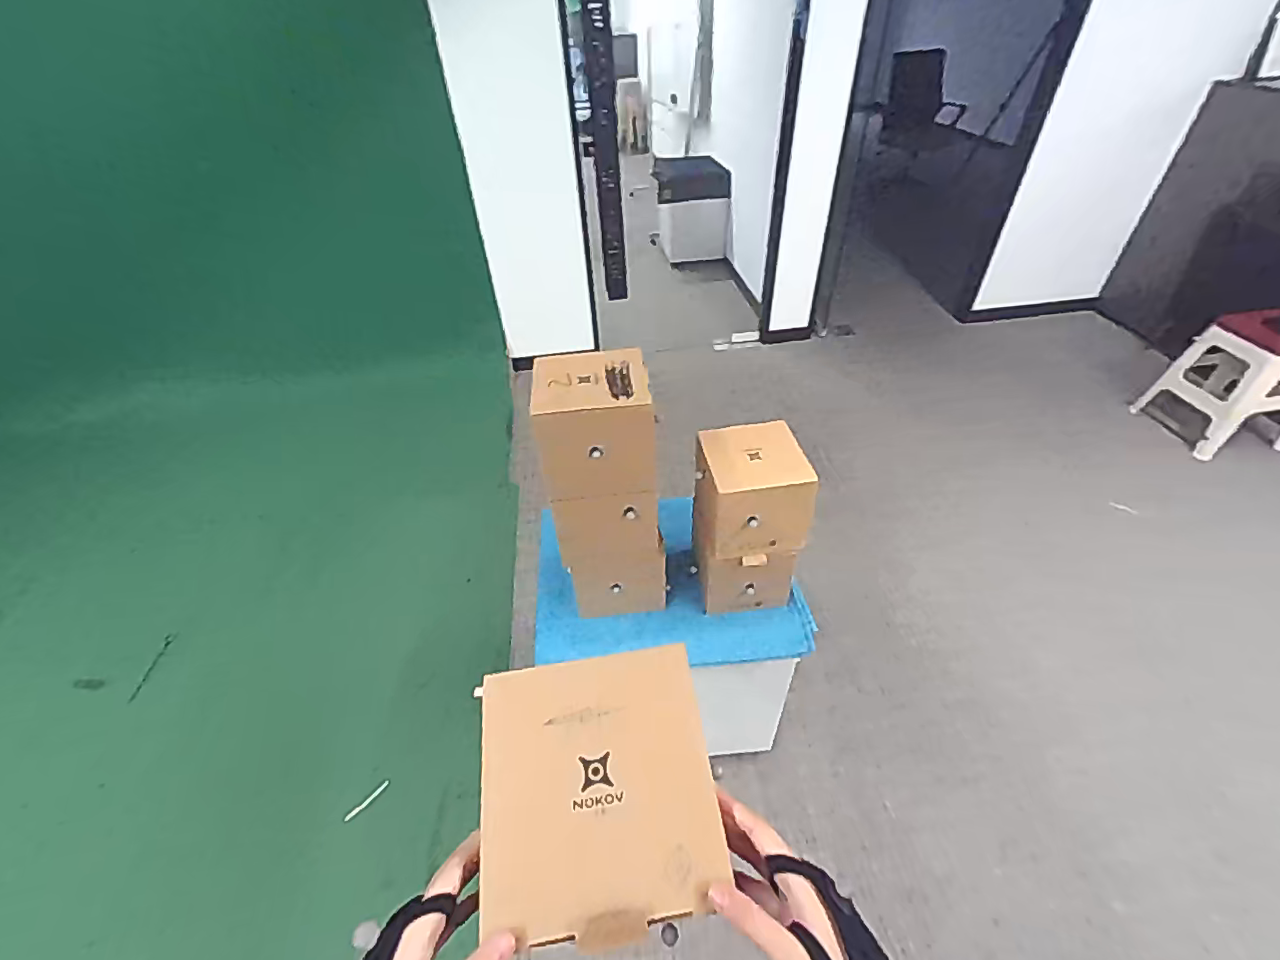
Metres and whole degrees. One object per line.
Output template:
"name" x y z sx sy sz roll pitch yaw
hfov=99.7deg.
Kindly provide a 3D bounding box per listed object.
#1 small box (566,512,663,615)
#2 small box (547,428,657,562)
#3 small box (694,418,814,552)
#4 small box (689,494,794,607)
"small box" -0.051 0.148 1.077 0.179 0.176 0.168 -6 41 -3
"small box" -0.066 0.028 0.966 0.179 0.176 0.168 -6 41 -3
"small box" 0.194 0.014 0.970 0.168 0.176 0.179 -7 40 -4
"small box" 0.193 0.137 1.076 0.168 0.176 0.179 -5 42 -3
